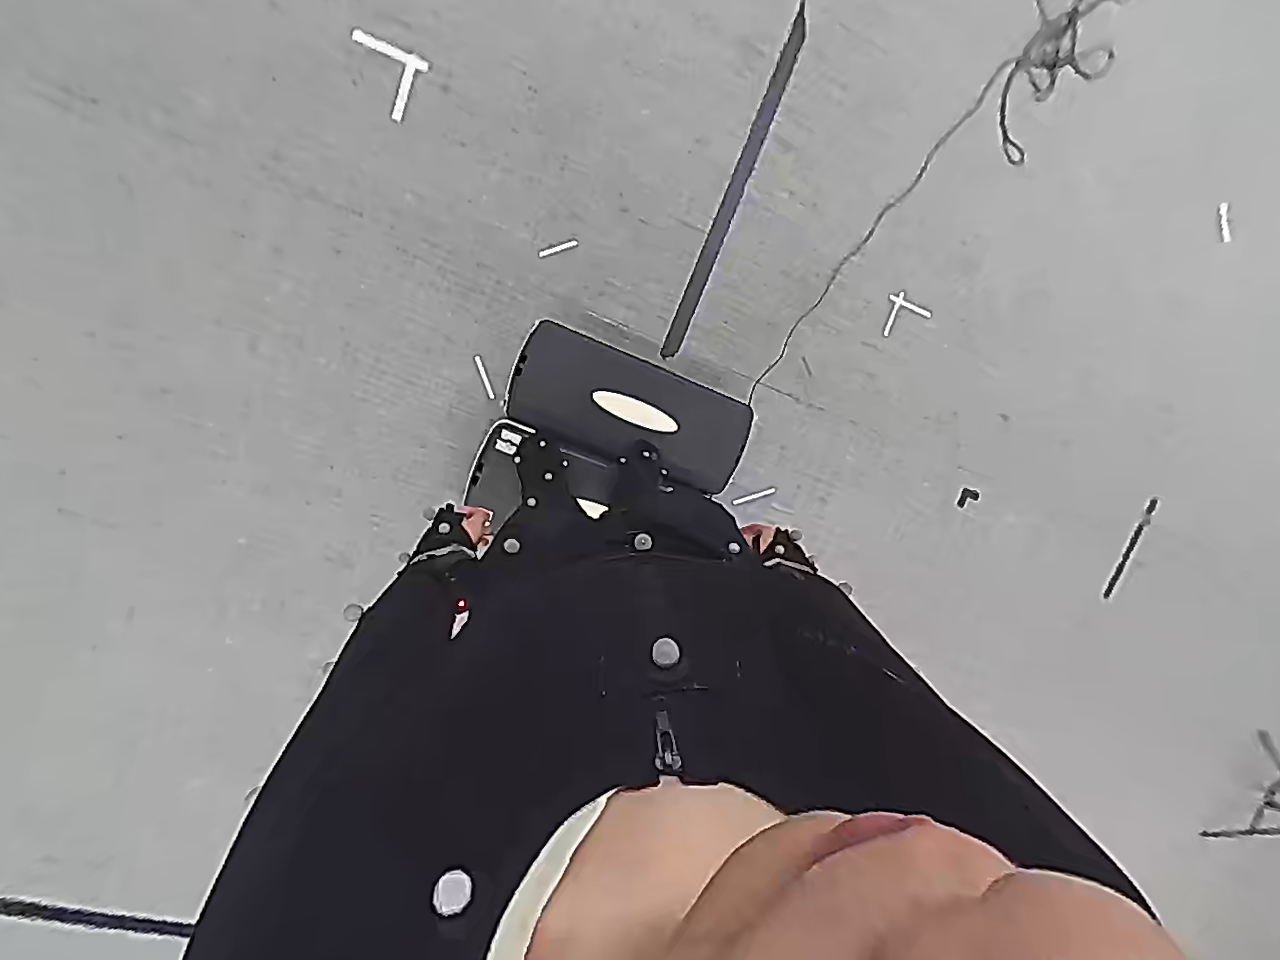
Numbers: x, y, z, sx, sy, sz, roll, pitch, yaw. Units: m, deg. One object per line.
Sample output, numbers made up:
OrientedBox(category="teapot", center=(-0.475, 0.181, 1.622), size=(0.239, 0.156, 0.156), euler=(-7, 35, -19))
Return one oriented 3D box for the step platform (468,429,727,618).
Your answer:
OrientedBox(category="step platform", center=(-0.108, 0.121, 1.474), size=(0.684, 0.204, 0.286), euler=(25, 92, -11))
